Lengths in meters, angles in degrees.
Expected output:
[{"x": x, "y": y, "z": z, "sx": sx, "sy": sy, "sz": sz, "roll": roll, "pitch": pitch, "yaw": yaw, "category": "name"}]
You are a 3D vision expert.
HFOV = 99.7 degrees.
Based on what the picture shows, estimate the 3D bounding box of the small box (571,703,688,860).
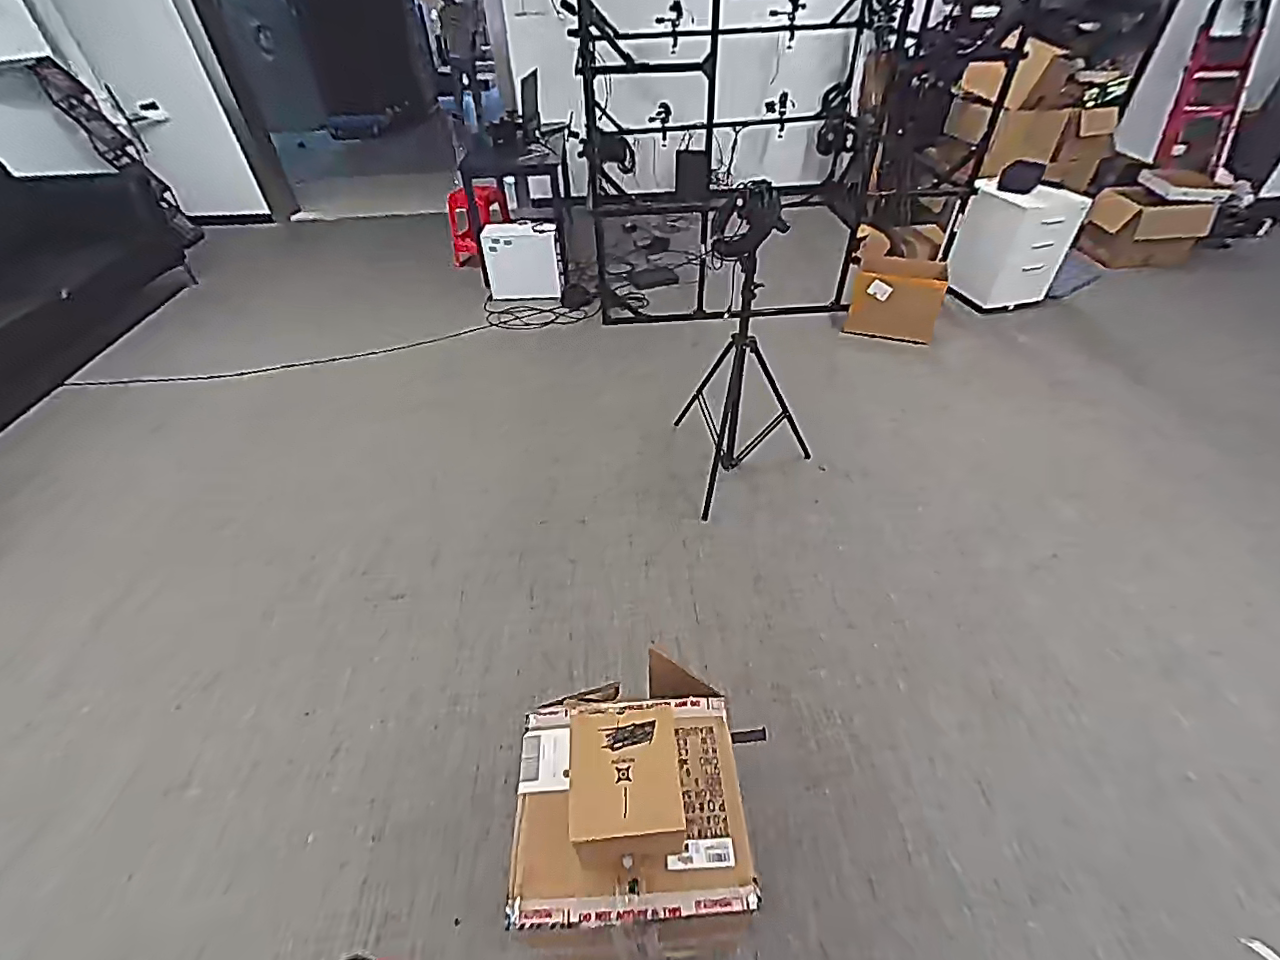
[{"x": -0.019, "y": 0.483, "z": 0.866, "sx": 0.168, "sy": 0.176, "sz": 0.179, "roll": -5, "pitch": 46, "yaw": -2, "category": "small box"}]
